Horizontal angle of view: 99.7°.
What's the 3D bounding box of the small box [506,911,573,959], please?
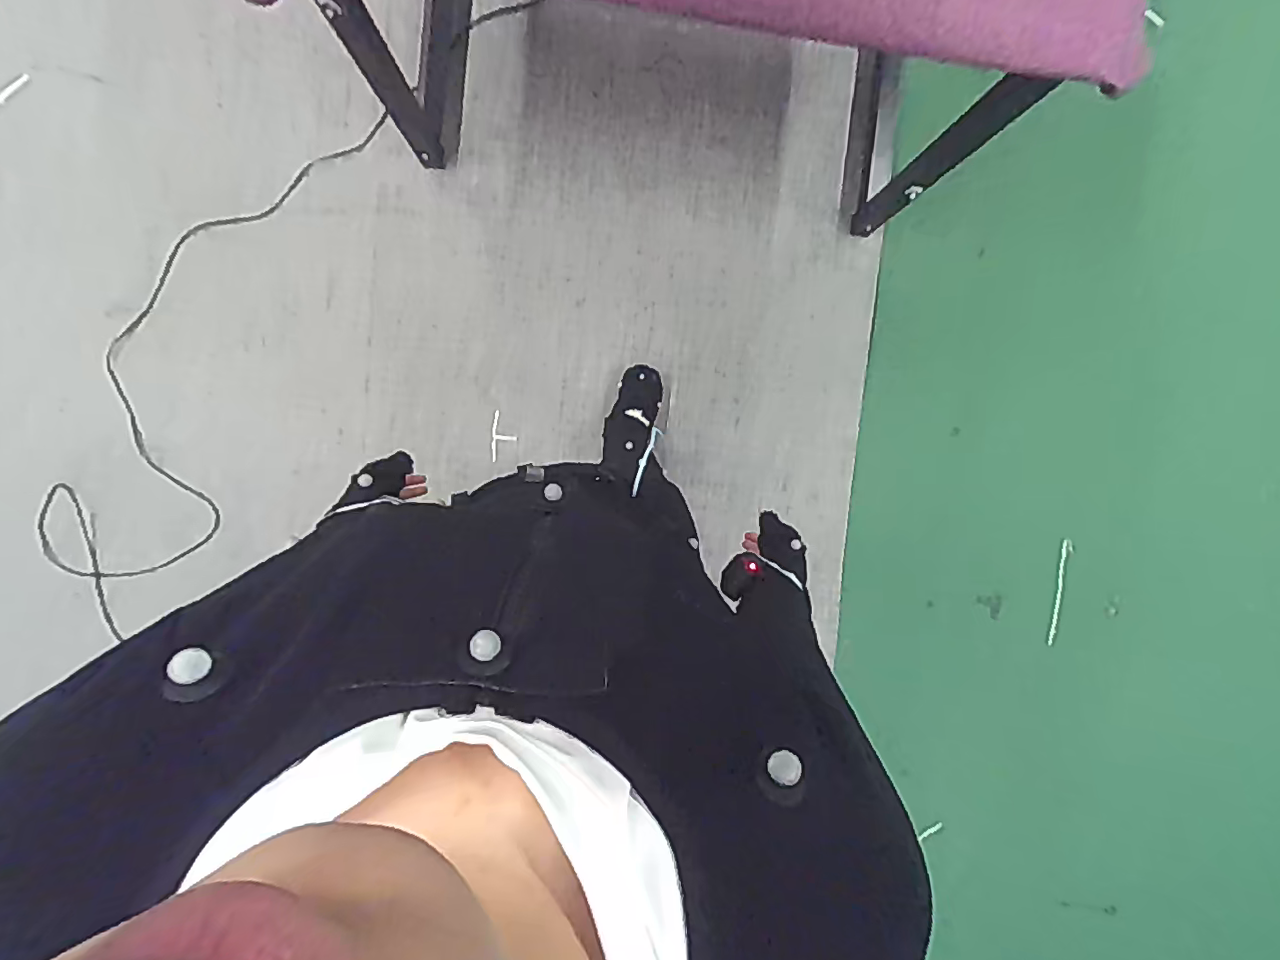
[{"bbox_3d":[-0.267,1.292,1.424,0.168,0.176,0.179,5,95,-5],"label":"small box"}]
